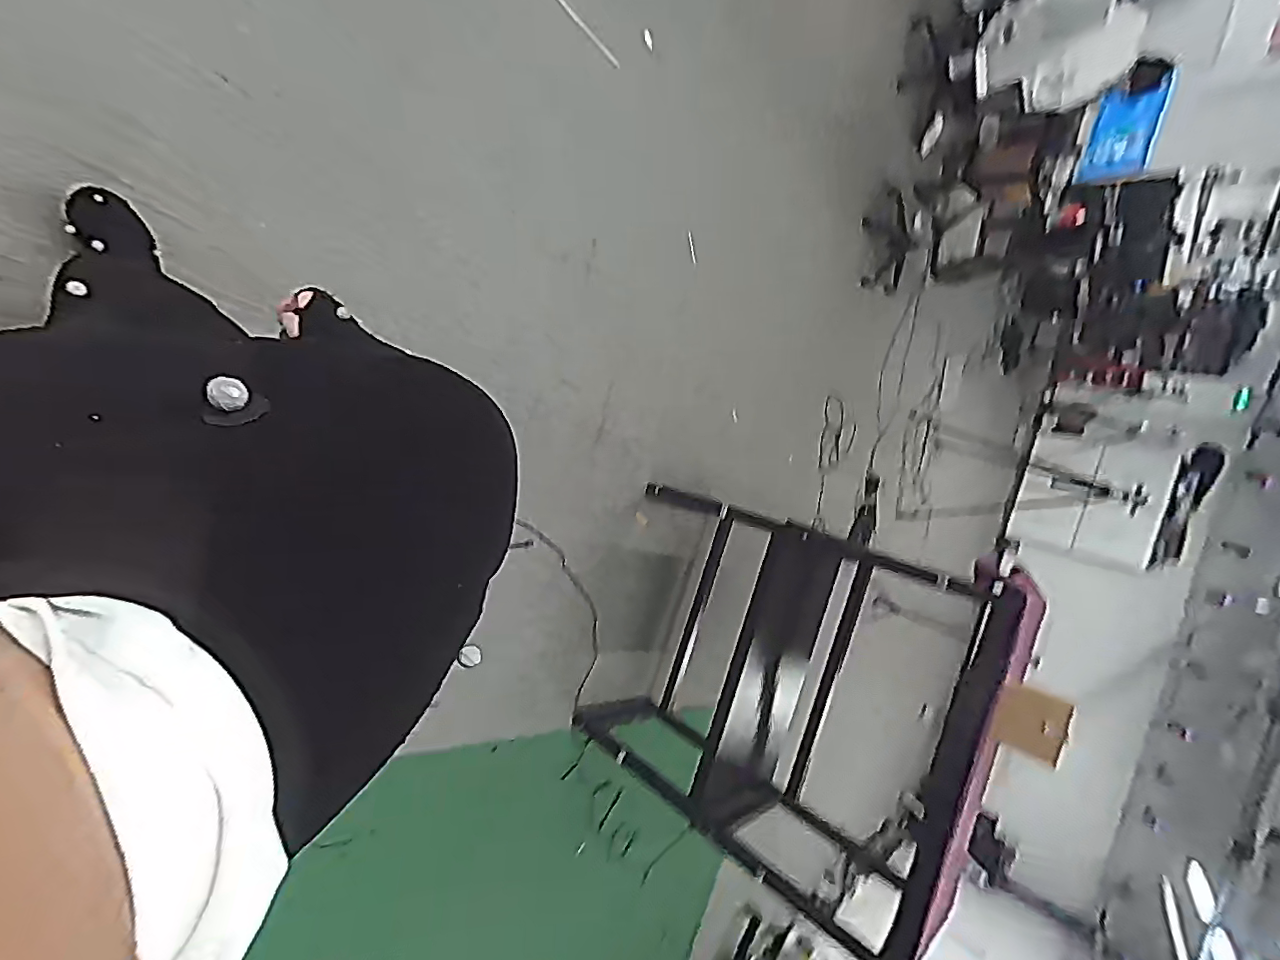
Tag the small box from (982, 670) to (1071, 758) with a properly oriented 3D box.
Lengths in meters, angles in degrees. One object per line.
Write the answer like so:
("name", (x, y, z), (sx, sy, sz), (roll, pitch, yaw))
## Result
("small box", (1.094, 0.651, 1.532), (0.168, 0.176, 0.179), (20, 88, -49))
